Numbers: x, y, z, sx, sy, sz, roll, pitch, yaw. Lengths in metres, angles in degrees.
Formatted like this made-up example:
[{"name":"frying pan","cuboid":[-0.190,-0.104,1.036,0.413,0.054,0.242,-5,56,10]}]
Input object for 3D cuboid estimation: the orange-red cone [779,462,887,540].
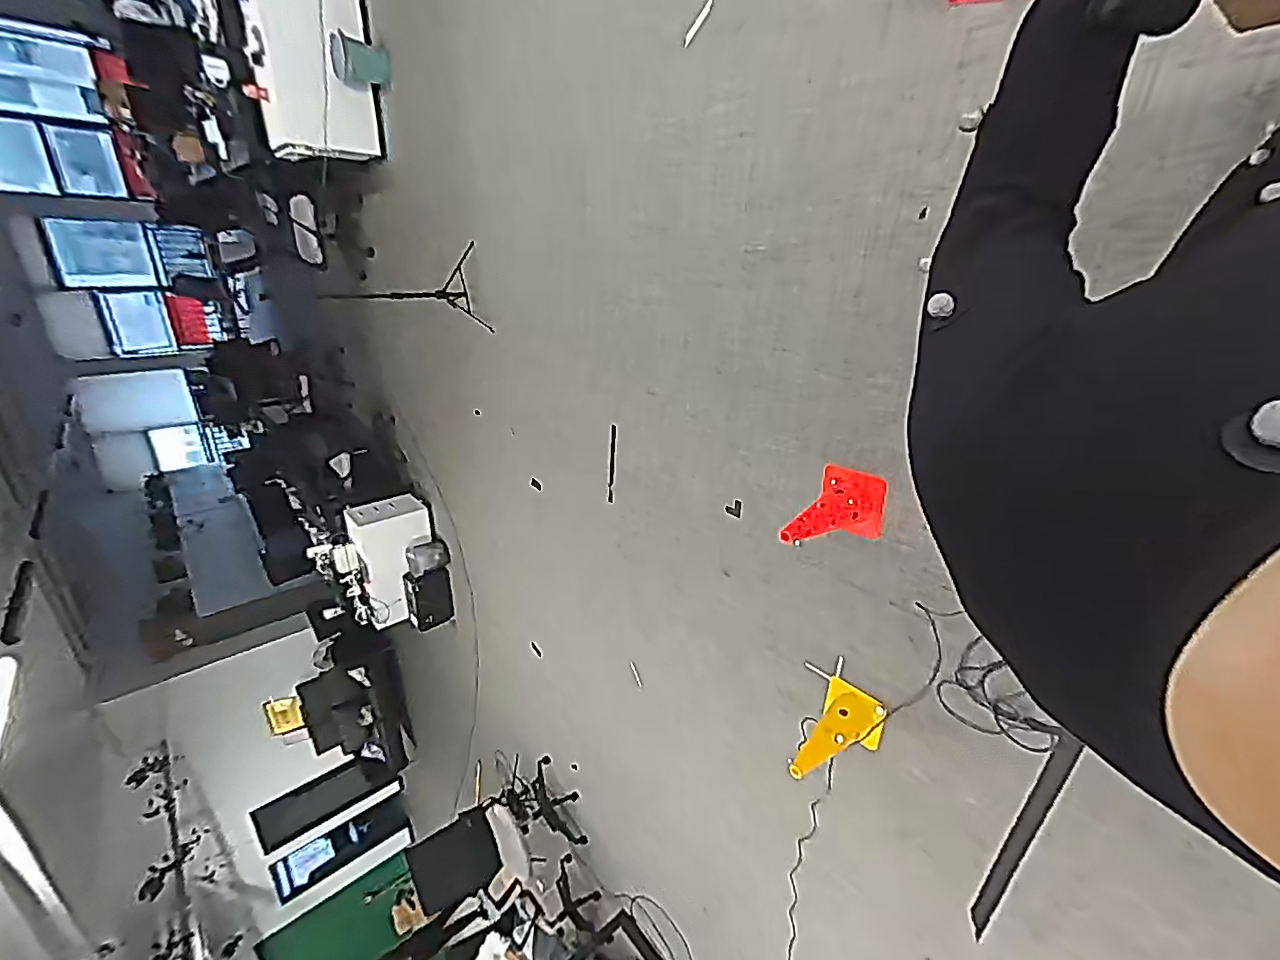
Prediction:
[{"name":"orange-red cone","cuboid":[0.520,0.102,1.545,0.198,0.360,0.199,24,123,44]}]
